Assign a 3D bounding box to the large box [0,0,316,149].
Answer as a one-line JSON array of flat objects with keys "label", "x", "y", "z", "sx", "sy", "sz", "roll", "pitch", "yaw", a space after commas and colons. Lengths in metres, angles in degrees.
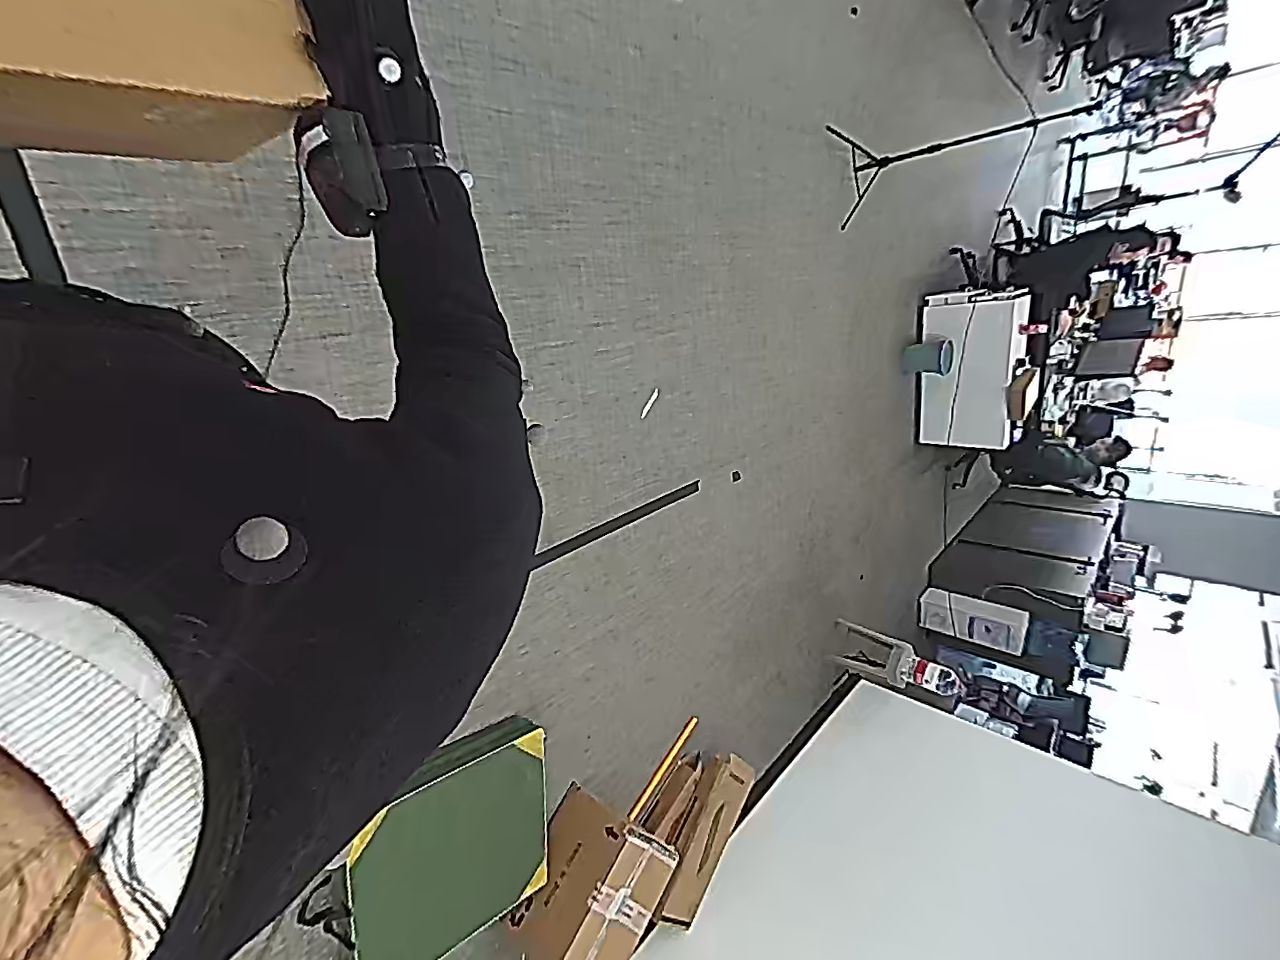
[{"label": "large box", "x": -0.457, "y": -0.366, "z": 0.259, "sx": 0.408, "sy": 0.320, "sz": 0.320, "roll": -23, "pitch": 123, "yaw": -40}]
